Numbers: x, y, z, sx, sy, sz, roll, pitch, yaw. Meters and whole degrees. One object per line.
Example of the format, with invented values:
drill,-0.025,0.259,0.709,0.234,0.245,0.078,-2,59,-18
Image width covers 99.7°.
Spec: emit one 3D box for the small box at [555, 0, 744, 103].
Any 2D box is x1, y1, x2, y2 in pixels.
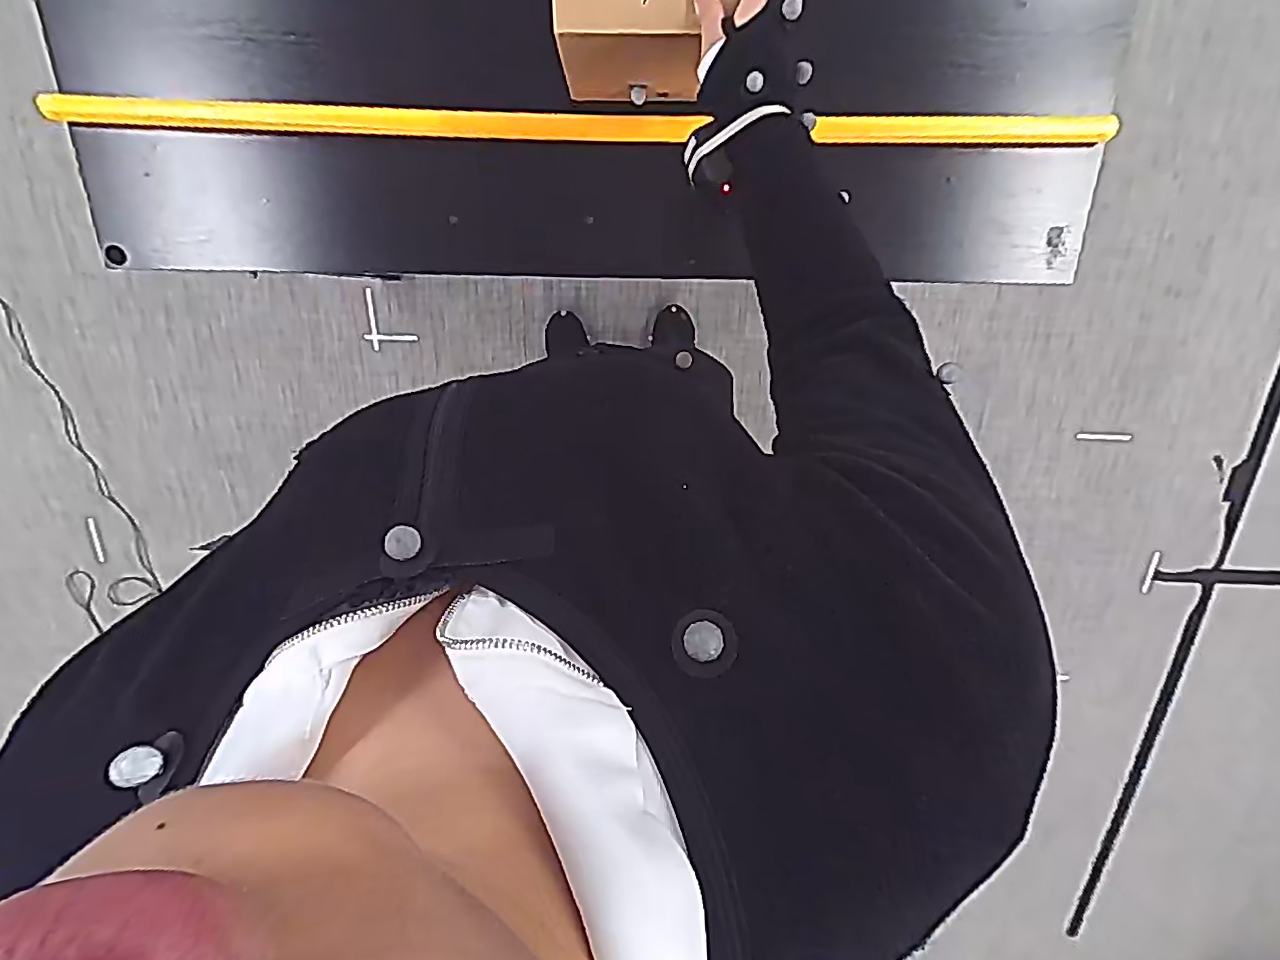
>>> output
small box,0.008,-0.496,0.520,0.168,0.176,0.179,1,109,-1
